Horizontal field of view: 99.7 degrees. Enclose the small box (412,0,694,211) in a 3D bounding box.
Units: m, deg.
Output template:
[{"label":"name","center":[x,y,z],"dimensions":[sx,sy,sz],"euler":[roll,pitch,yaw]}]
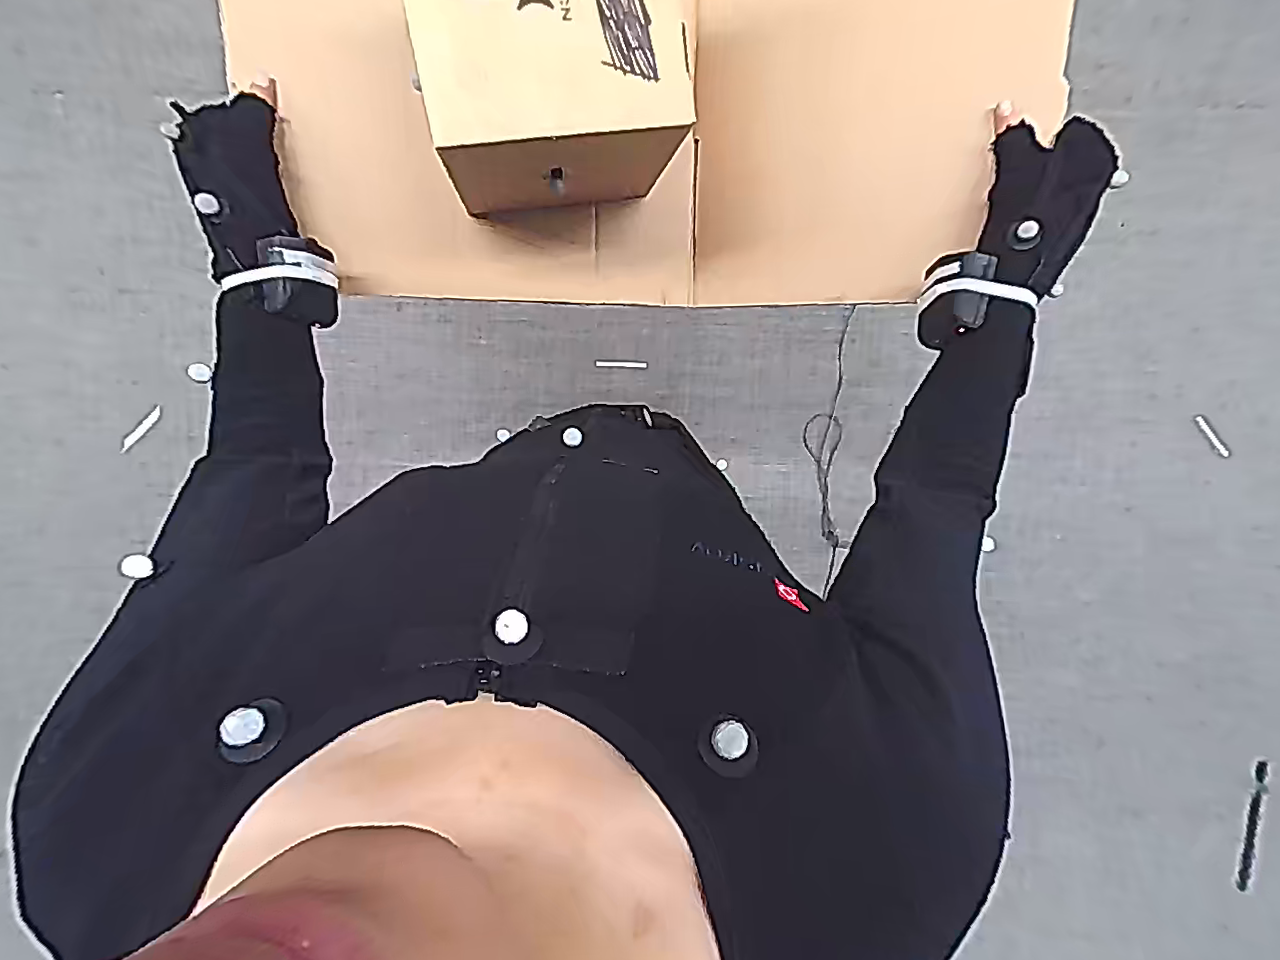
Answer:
[{"label":"small box","center":[-0.070,-0.325,0.423],"dimensions":[0.179,0.176,0.168],"euler":[-10,104,-7]}]
